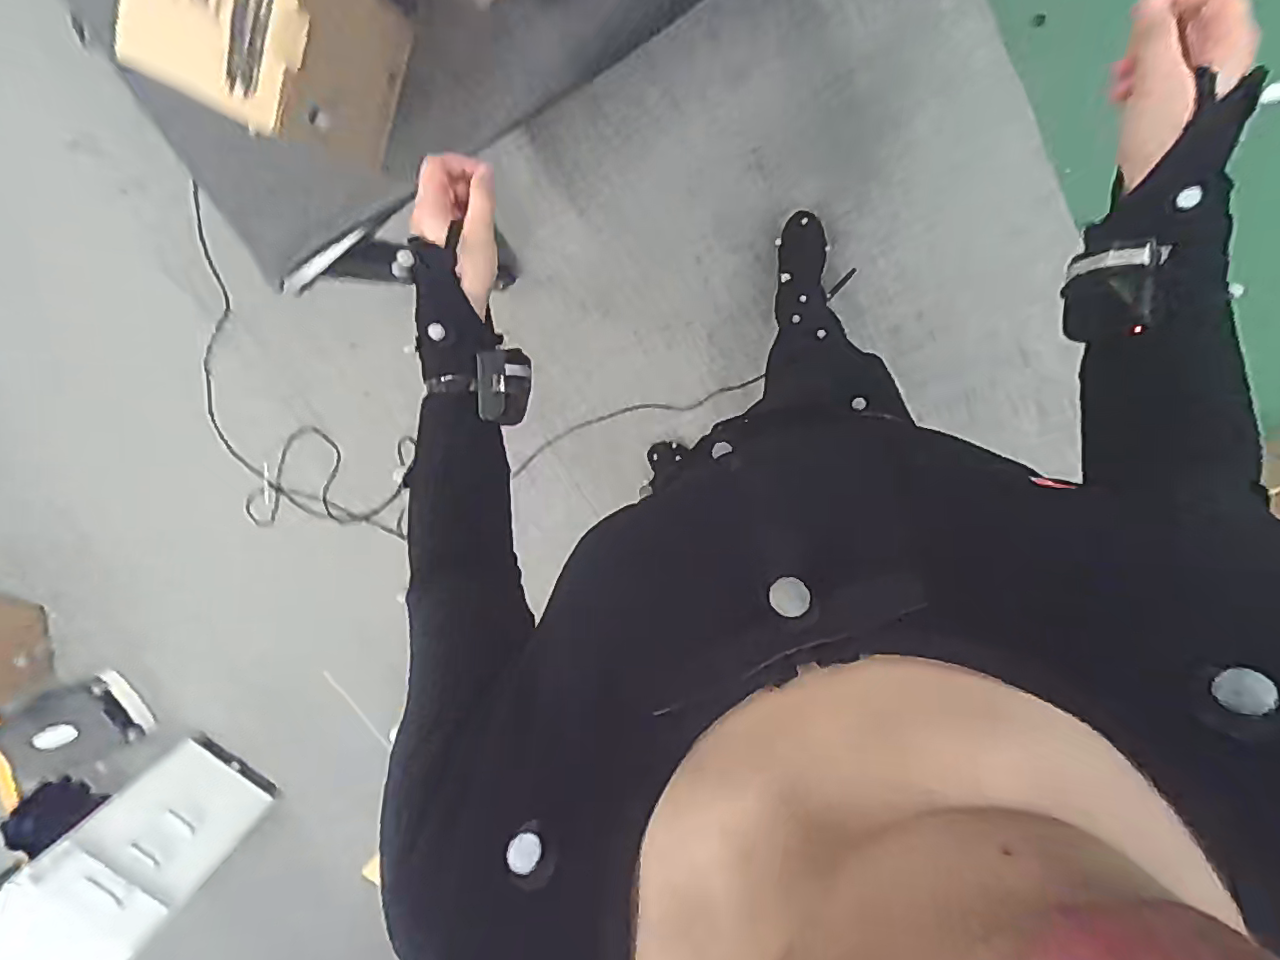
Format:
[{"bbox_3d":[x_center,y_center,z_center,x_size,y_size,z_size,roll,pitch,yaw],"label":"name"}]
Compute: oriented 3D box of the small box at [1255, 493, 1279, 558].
[{"bbox_3d":[1.522,0.104,1.166,0.179,0.176,0.168,-30,102,17],"label":"small box"}]
